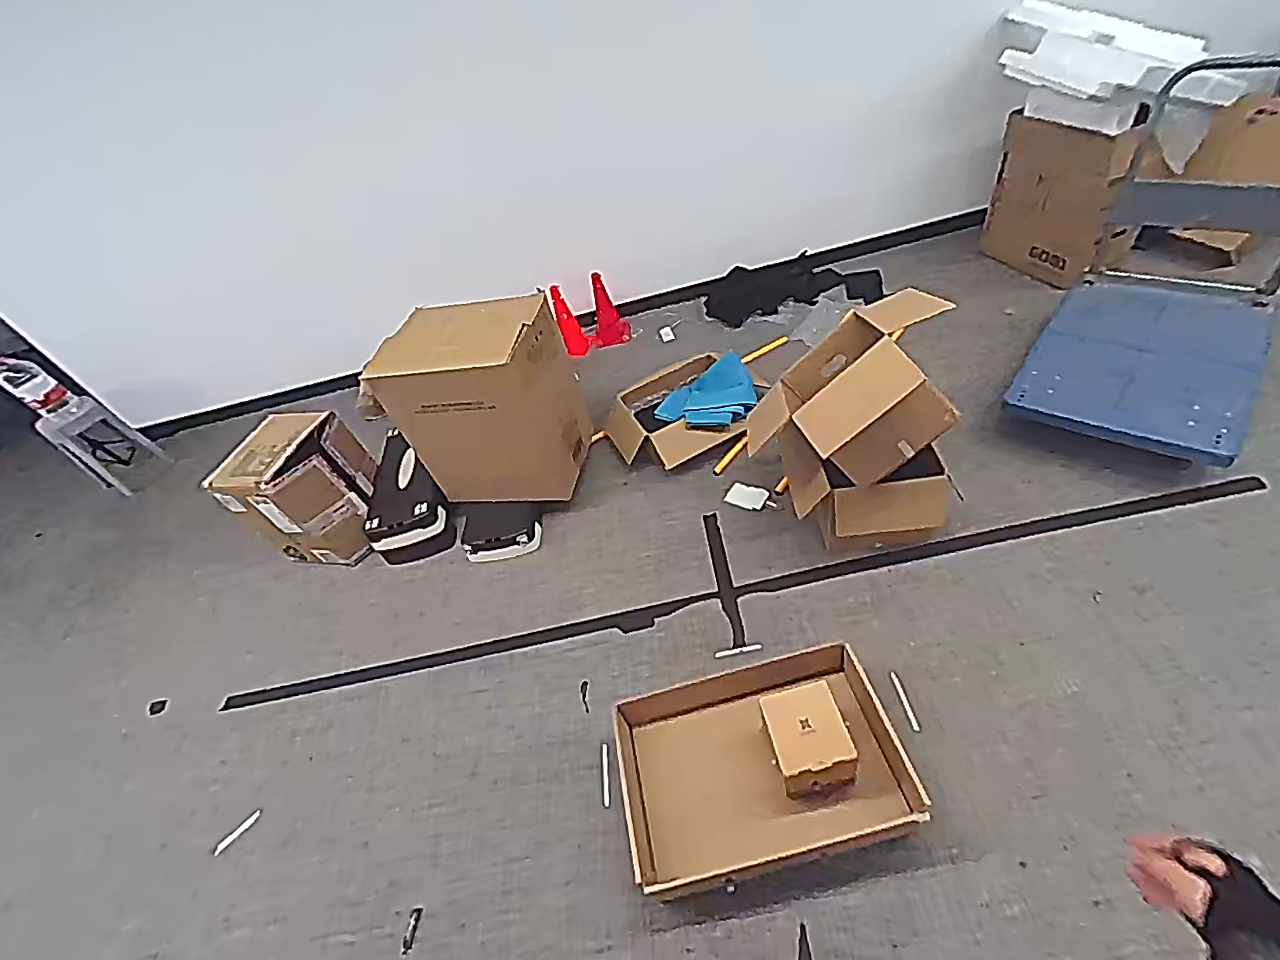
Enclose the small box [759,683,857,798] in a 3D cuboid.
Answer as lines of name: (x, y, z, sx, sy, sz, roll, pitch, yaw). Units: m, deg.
small box: (0.384, 0.609, 1.261, 0.168, 0.176, 0.179, -16, 44, 2)
